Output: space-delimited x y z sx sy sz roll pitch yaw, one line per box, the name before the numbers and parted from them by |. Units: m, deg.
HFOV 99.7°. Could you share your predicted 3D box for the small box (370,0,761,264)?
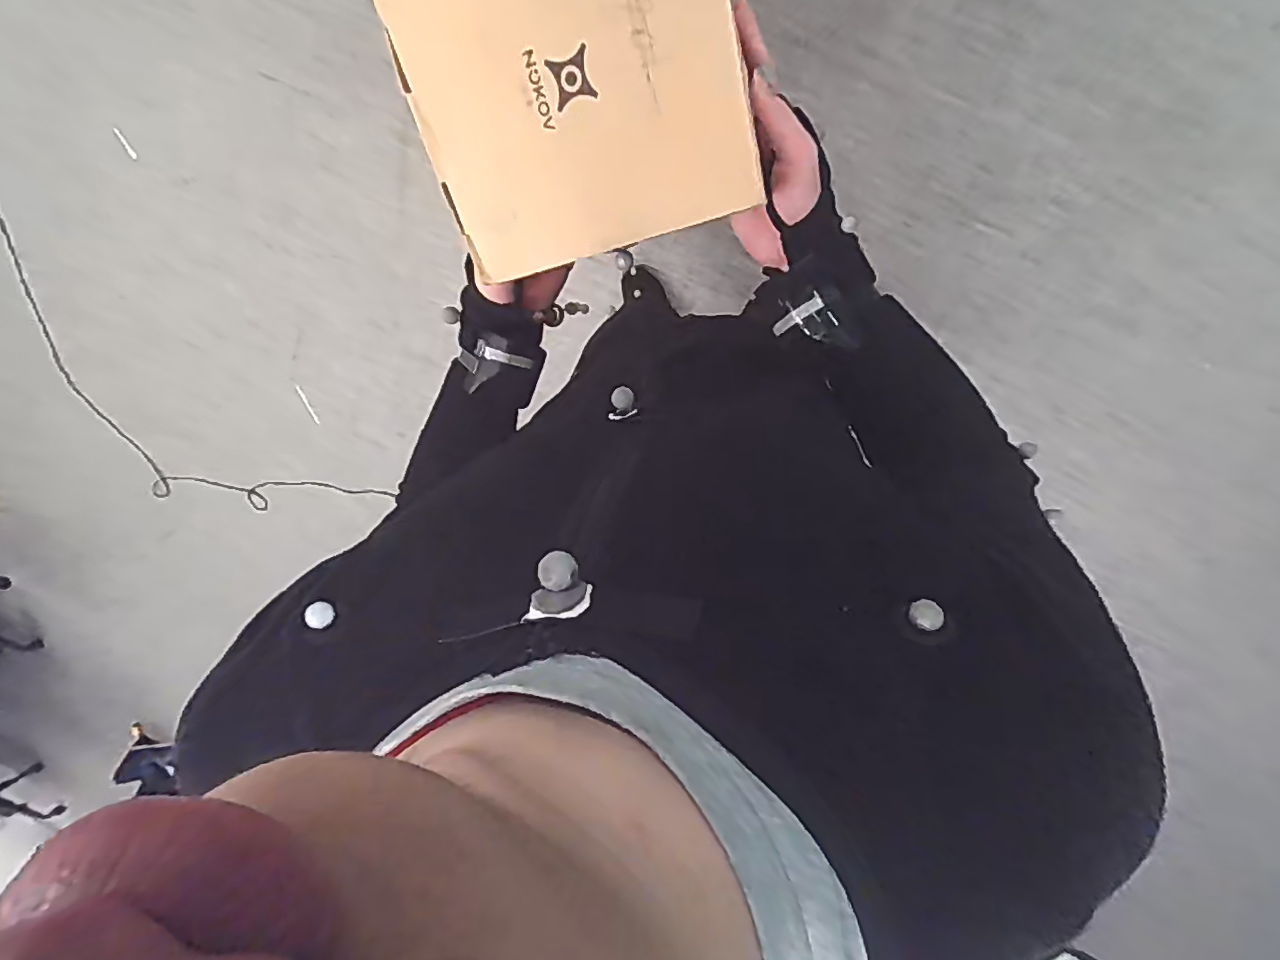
small box | -0.025 -0.247 0.336 0.179 0.176 0.168 -9 116 17
